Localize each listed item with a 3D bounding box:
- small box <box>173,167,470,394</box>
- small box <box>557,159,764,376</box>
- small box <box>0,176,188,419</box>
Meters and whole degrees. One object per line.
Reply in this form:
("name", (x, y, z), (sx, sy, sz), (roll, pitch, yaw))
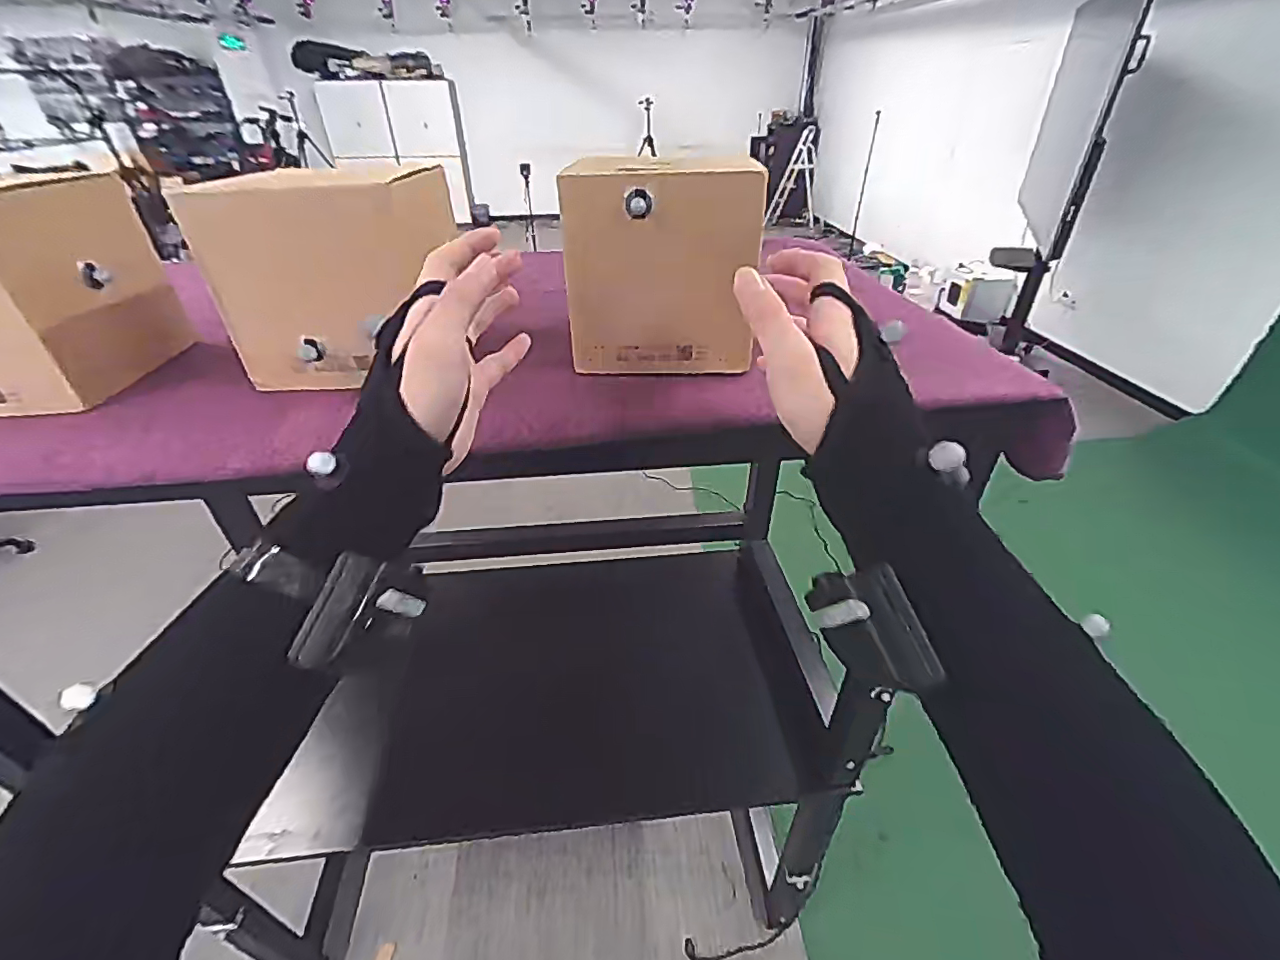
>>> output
("small box", (-0.272, -0.195, 0.519), (0.168, 0.176, 0.179), (-3, 35, -1))
("small box", (0.022, -0.212, 0.532), (0.168, 0.176, 0.179), (0, 34, 4))
("small box", (-0.559, -0.165, 0.482), (0.168, 0.176, 0.179), (-4, 36, -4))
